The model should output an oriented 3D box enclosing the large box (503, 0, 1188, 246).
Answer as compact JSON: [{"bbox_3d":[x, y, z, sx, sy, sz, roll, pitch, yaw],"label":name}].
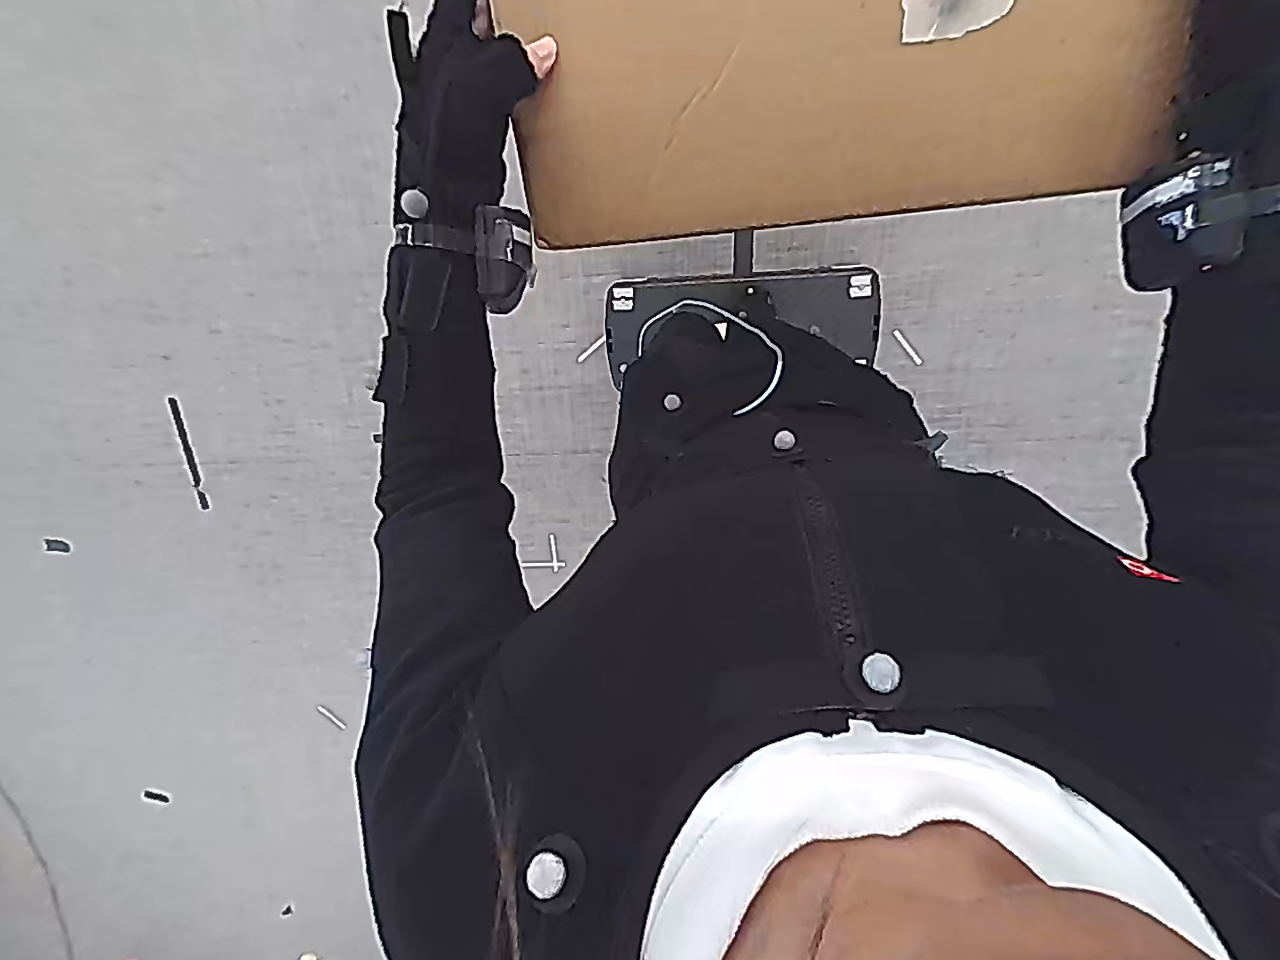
[{"bbox_3d":[0.122,-0.391,0.436,0.408,0.320,0.320,-3,118,9],"label":"large box"}]

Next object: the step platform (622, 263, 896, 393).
[{"bbox_3d":[0.293,-0.392,1.415,0.684,0.204,0.286,-2,110,7],"label":"step platform"}]
